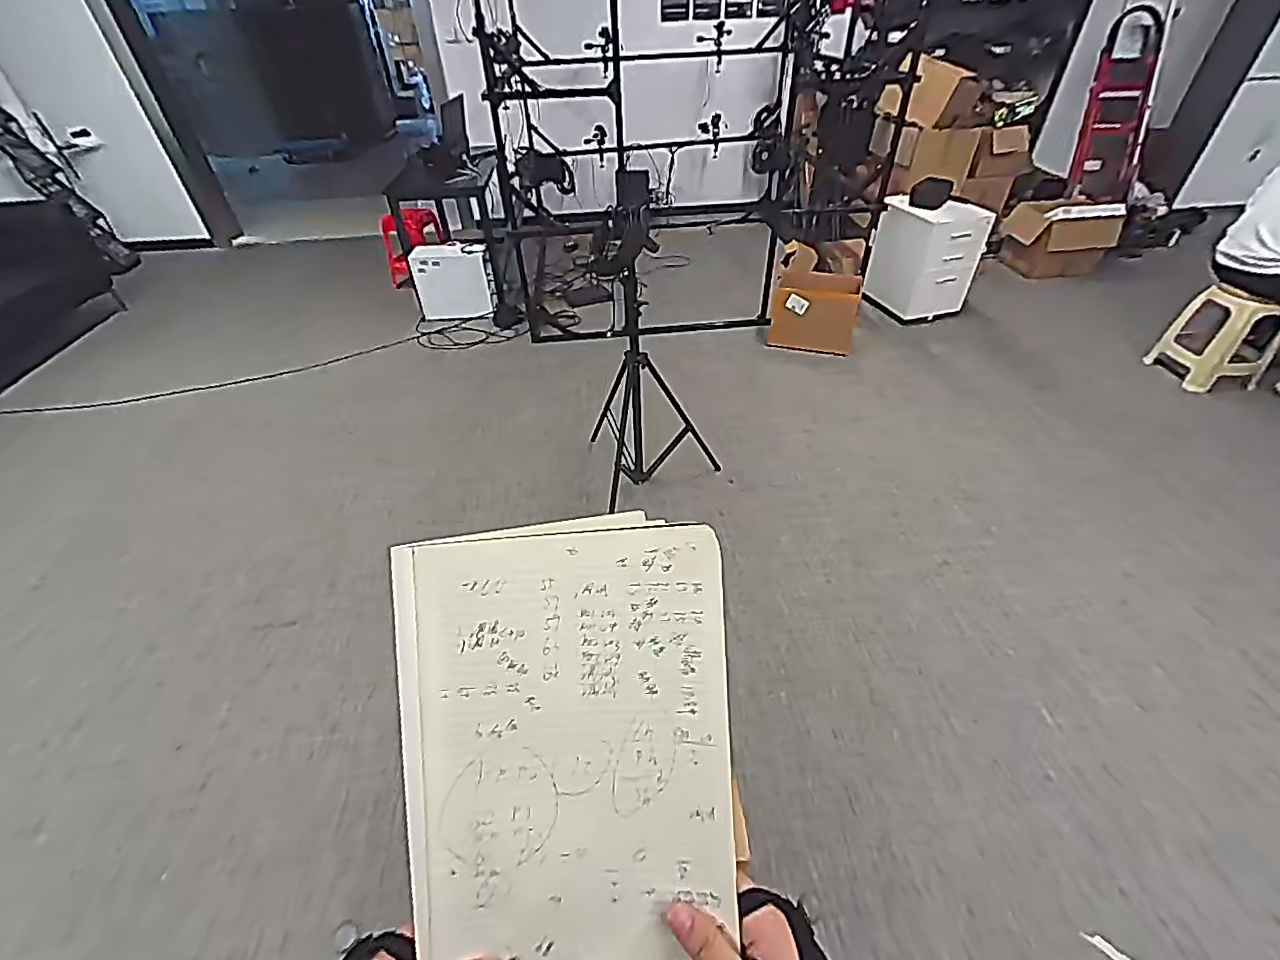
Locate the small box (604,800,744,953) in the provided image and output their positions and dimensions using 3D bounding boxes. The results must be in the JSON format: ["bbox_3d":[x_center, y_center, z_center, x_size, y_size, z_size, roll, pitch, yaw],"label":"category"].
[{"bbox_3d":[0.041,0.579,0.809,0.179,0.176,0.168,-6,42,-6],"label":"small box"}]

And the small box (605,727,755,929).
[{"bbox_3d":[0.038,0.451,0.706,0.168,0.176,0.179,-3,42,-5],"label":"small box"}]
